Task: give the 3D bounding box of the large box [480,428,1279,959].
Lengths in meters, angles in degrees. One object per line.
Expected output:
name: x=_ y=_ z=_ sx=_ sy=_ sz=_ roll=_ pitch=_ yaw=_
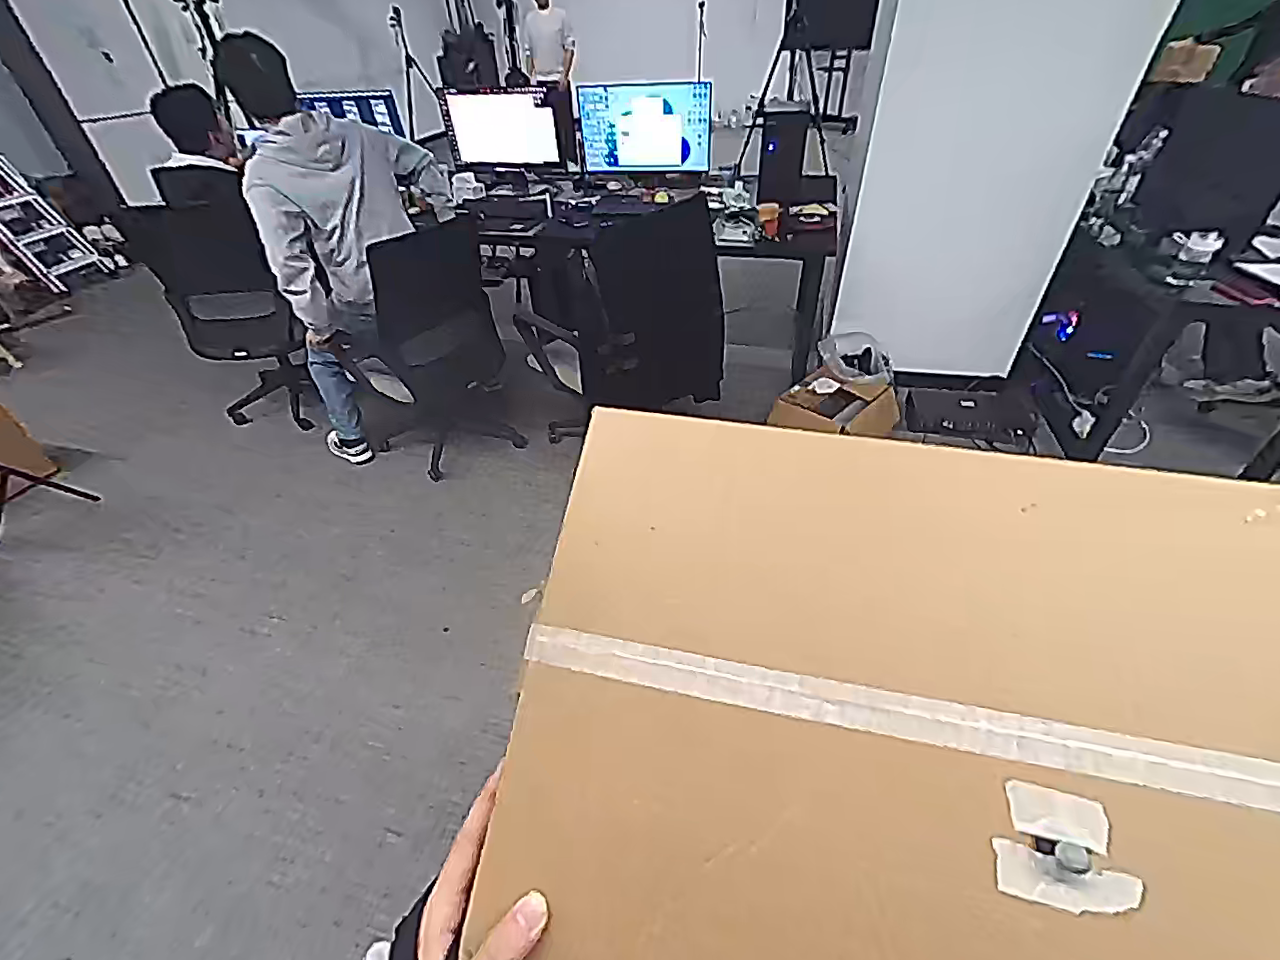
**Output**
large box: x=0.152 y=0.181 z=0.424 sx=0.408 sy=0.320 sz=0.320 roll=7 pitch=70 yaw=10
